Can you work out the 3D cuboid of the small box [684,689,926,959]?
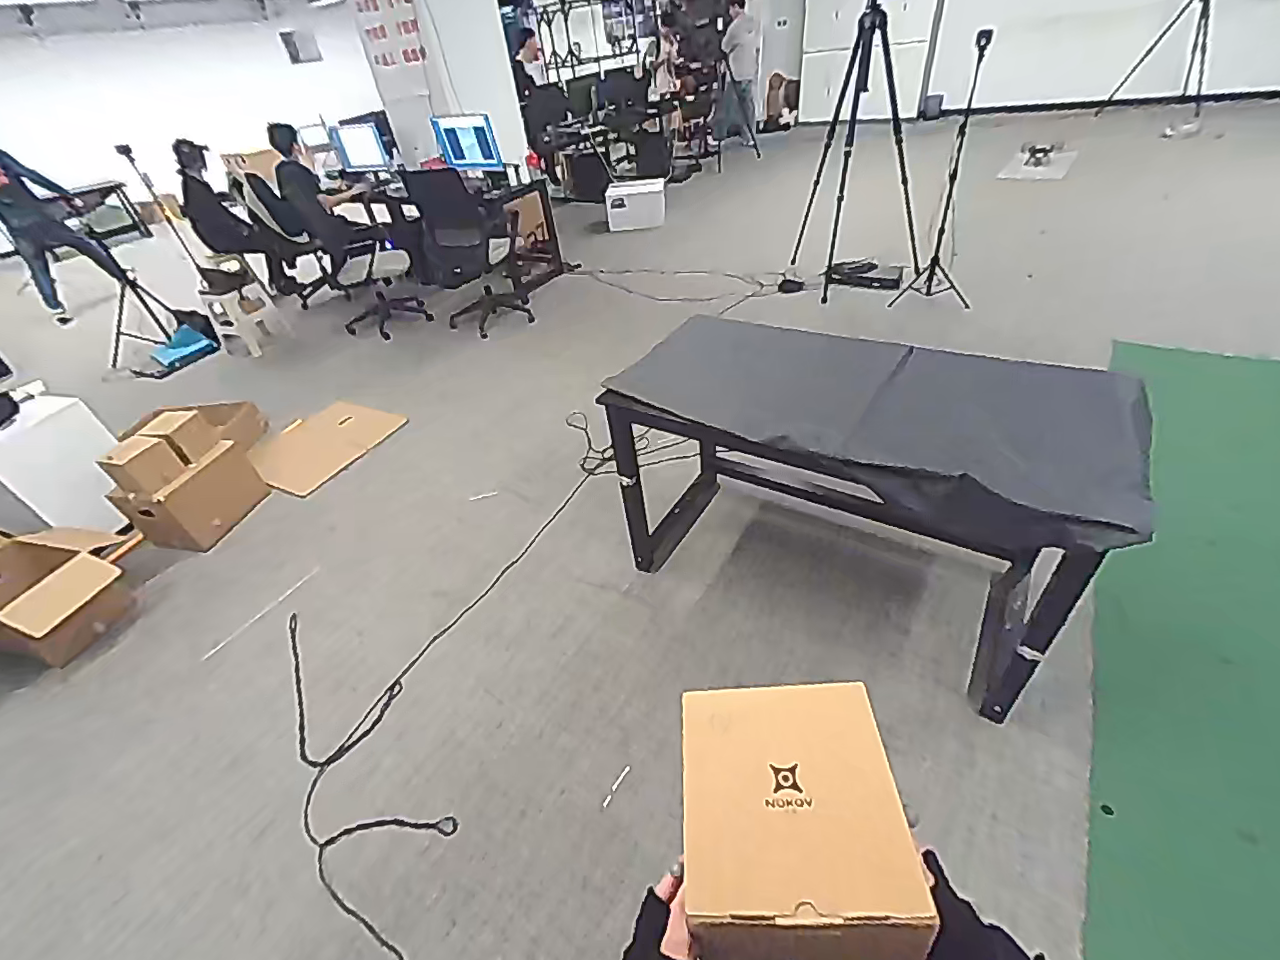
[{"bbox_3d":[0.129,0.314,0.485,0.168,0.176,0.179,-6,36,8],"label":"small box"}]
